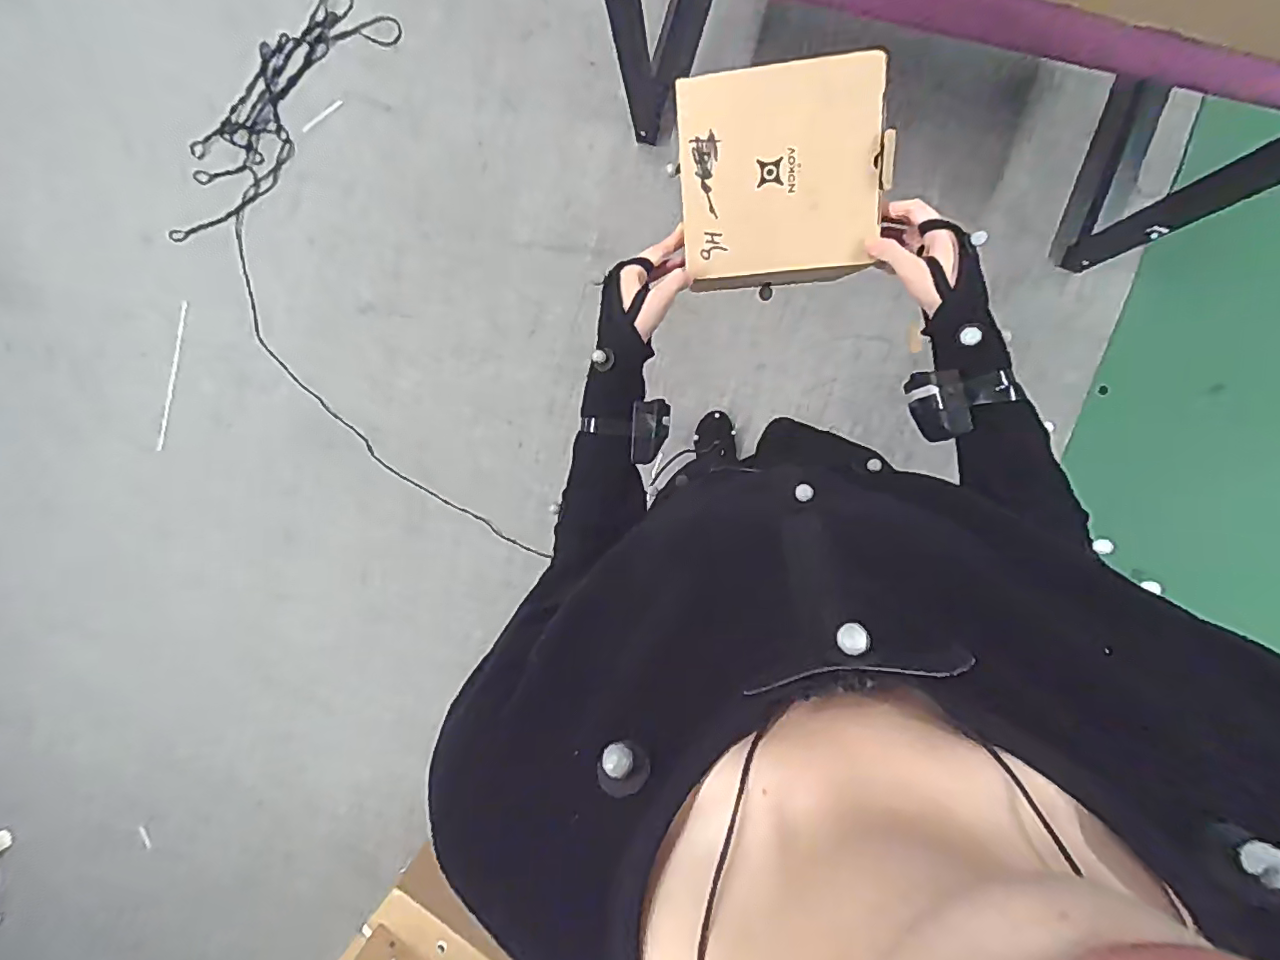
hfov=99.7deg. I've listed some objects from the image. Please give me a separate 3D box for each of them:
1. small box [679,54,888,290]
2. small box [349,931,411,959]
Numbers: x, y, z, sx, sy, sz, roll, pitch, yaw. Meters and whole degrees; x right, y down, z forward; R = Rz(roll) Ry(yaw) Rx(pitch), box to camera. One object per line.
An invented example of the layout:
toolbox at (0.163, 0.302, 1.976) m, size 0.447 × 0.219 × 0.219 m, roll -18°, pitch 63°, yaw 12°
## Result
small box at (0.130, -0.290, 0.549) m, size 0.179 × 0.176 × 0.168 m, roll -2°, pitch 104°, yaw 6°
small box at (-0.672, 1.262, 1.303) m, size 0.168 × 0.176 × 0.179 m, roll 37°, pitch 99°, yaw 3°
